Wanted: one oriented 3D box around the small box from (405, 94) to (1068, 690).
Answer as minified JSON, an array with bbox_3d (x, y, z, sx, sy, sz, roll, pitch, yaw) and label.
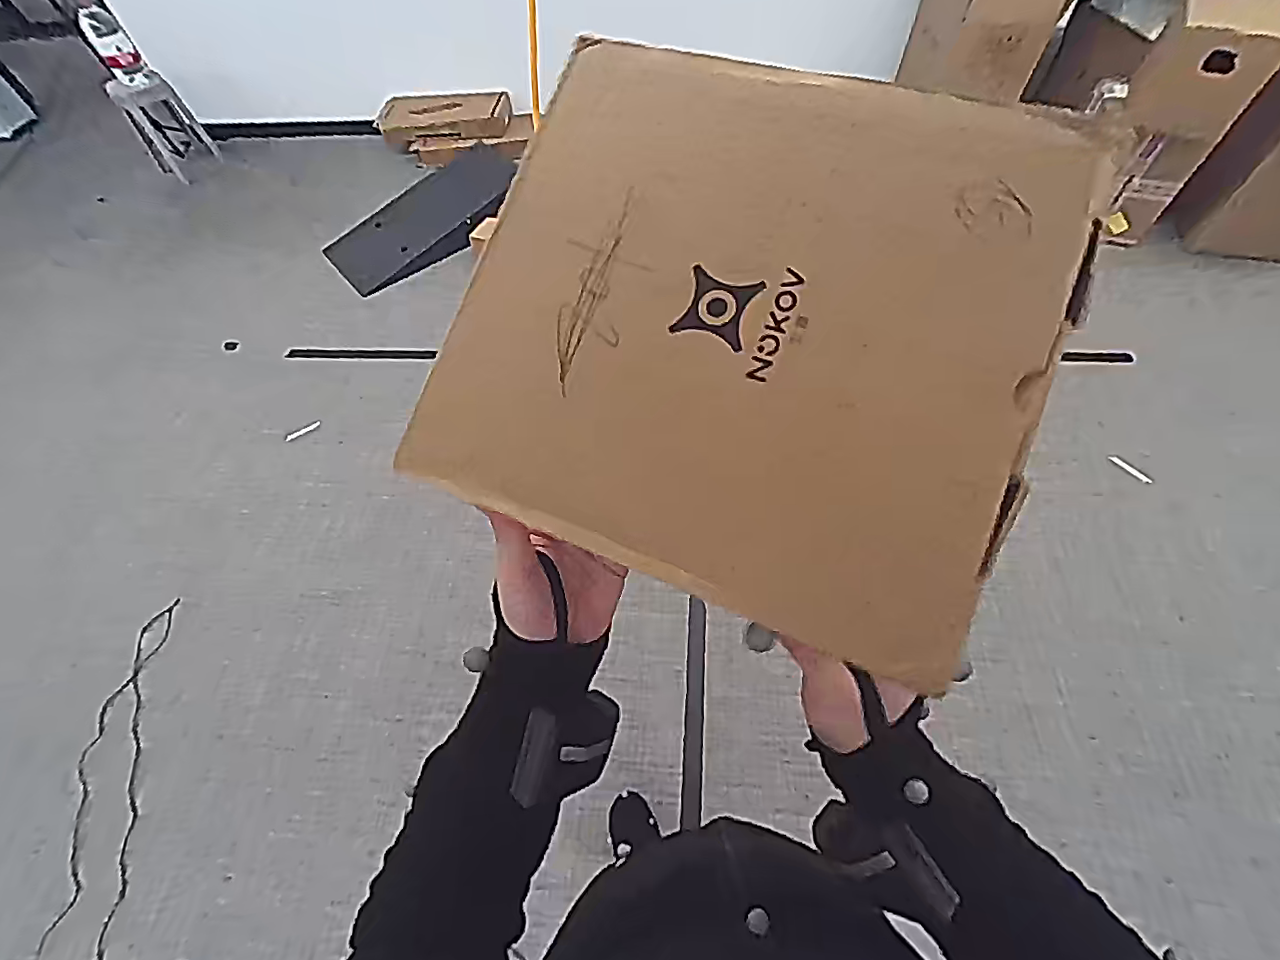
[{"bbox_3d":[0.039,-0.029,0.252,0.179,0.176,0.168,17,83,15],"label":"small box"}]
